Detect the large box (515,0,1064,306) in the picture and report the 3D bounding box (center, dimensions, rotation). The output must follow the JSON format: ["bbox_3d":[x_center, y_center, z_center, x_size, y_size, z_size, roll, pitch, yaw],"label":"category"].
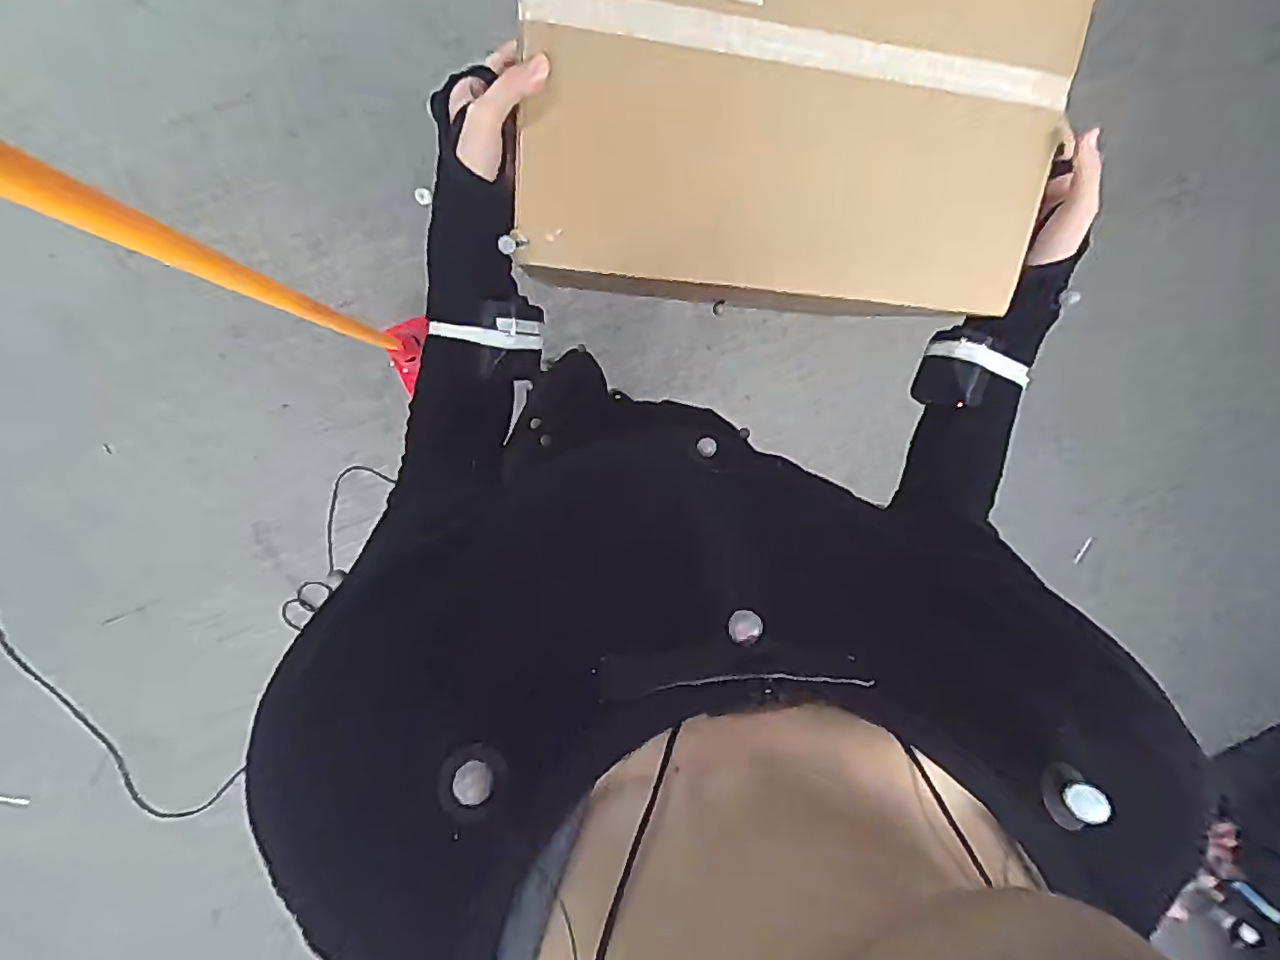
[{"bbox_3d":[0.097,-0.352,0.536,0.408,0.320,0.320,3,107,-8],"label":"large box"}]
